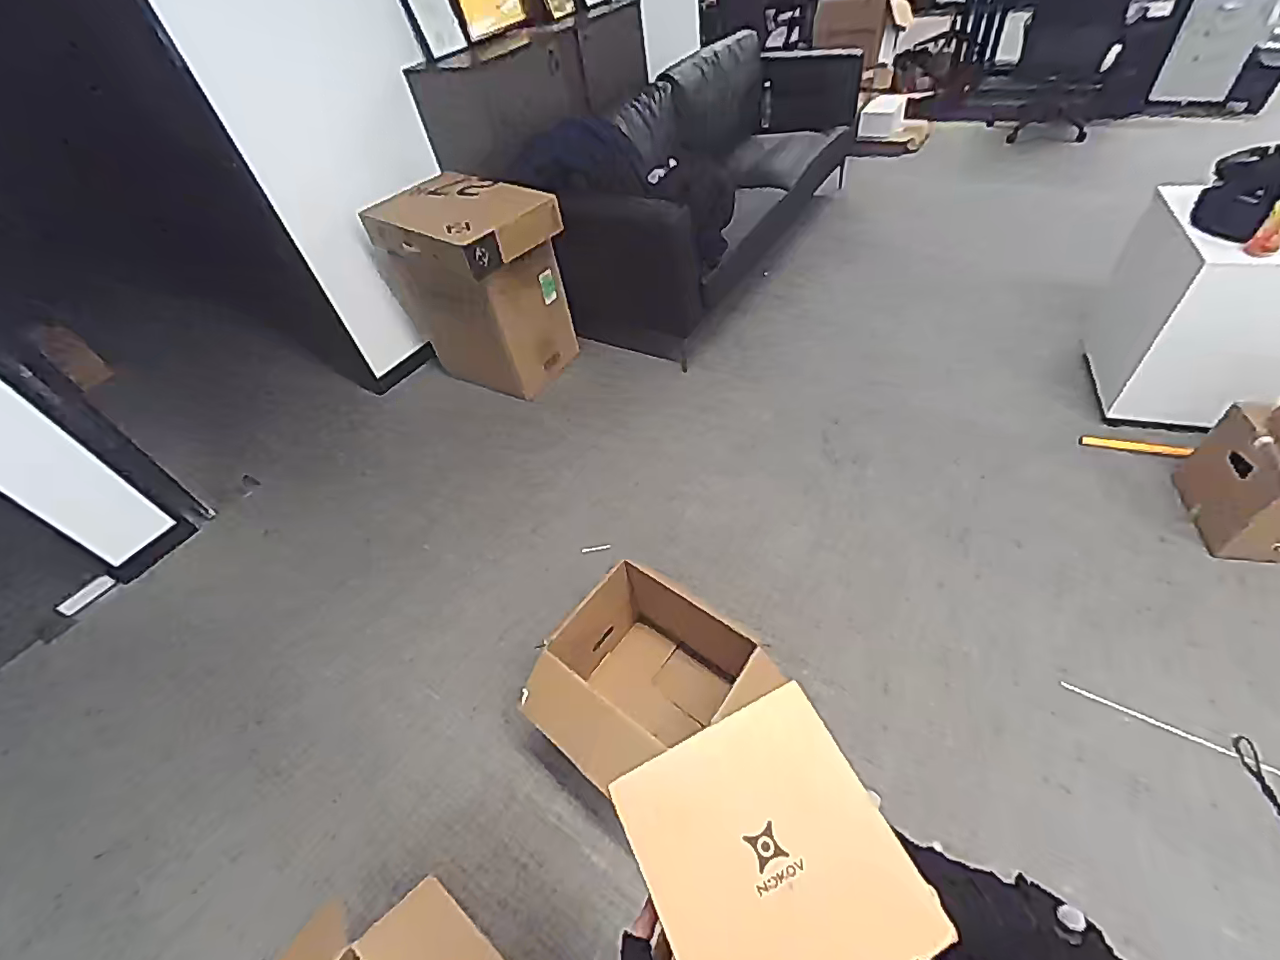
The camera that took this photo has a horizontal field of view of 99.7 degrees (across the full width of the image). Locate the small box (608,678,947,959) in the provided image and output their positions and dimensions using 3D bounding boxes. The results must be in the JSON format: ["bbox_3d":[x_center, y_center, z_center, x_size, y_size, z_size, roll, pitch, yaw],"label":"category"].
[{"bbox_3d":[0.087,0.294,0.431,0.168,0.176,0.179,-24,58,-12],"label":"small box"}]
